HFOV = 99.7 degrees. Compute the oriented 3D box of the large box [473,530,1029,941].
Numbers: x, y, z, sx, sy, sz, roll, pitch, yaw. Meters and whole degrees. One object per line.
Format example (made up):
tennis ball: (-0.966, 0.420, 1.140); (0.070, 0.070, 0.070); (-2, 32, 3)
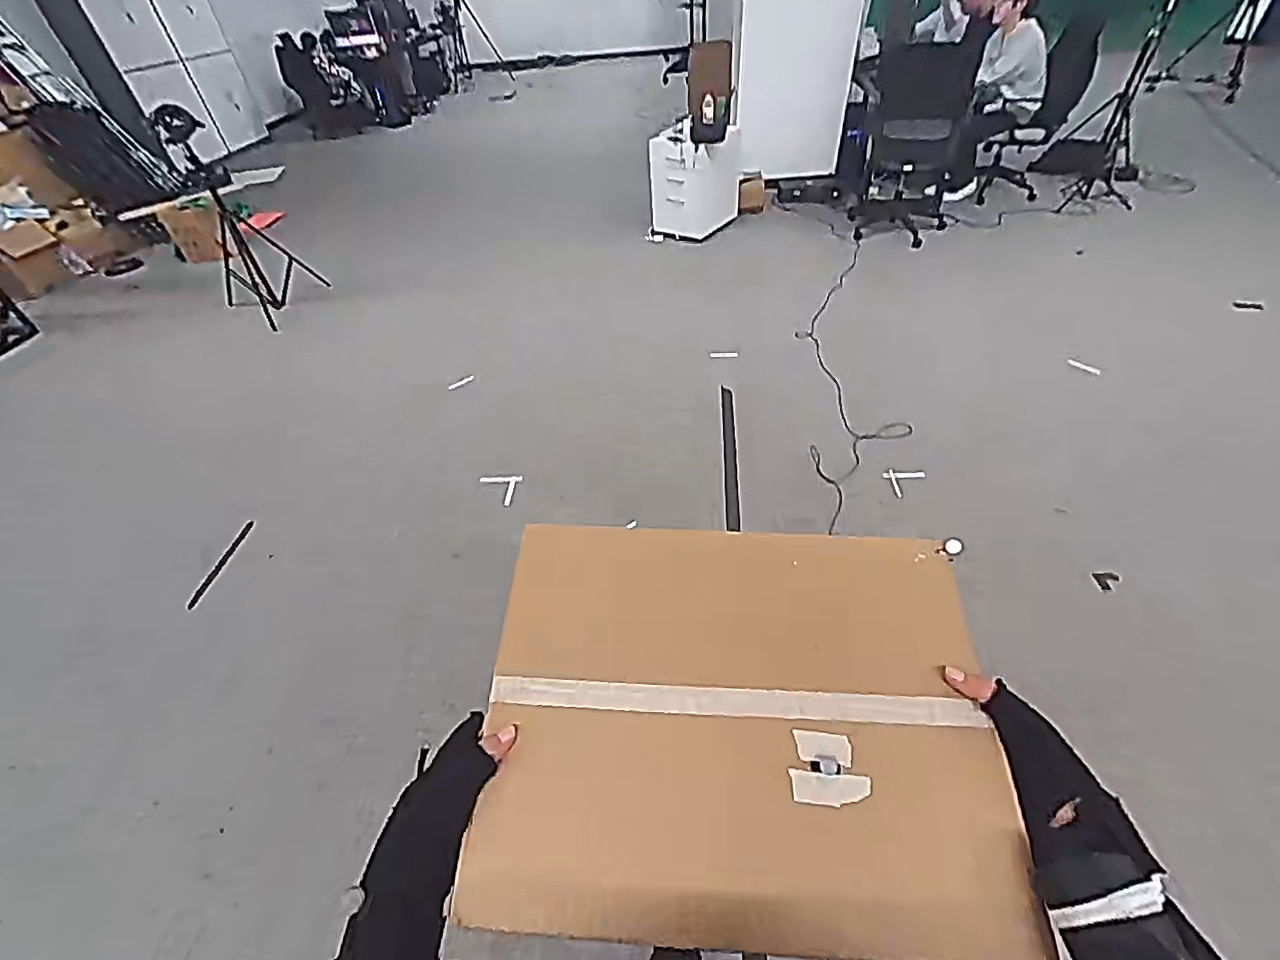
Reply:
large box: (0.082, 0.266, 0.586); (0.408, 0.320, 0.320); (2, 58, 3)
